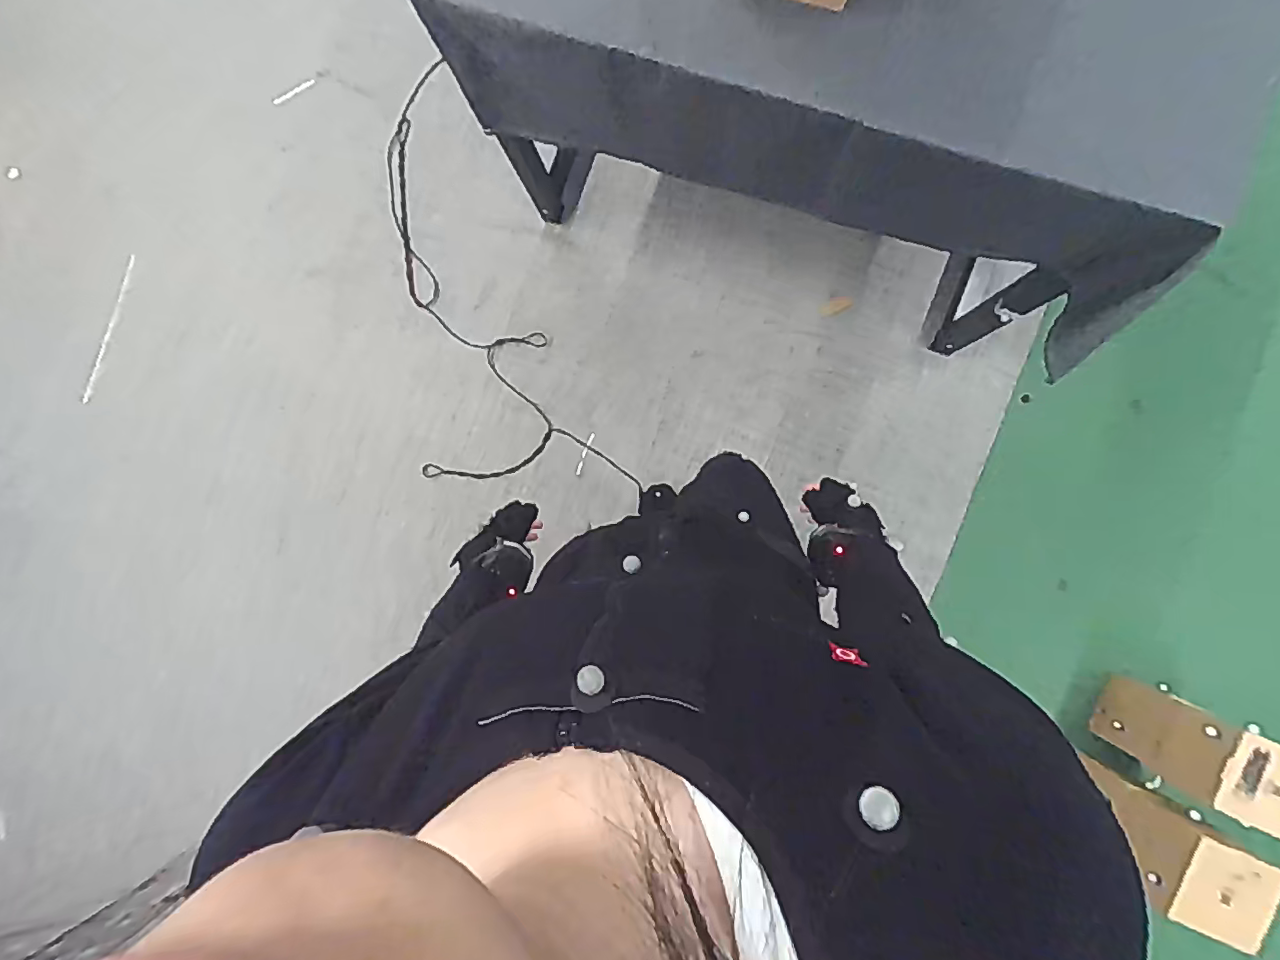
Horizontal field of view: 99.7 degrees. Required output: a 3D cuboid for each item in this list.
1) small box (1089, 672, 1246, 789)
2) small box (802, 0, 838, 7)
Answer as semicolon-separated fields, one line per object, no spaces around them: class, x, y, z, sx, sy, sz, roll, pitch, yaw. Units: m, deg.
small box;1.228;0.577;1.276;0.179;0.176;0.168;26;92;6
small box;0.216;-0.757;0.677;0.168;0.176;0.179;20;90;6
